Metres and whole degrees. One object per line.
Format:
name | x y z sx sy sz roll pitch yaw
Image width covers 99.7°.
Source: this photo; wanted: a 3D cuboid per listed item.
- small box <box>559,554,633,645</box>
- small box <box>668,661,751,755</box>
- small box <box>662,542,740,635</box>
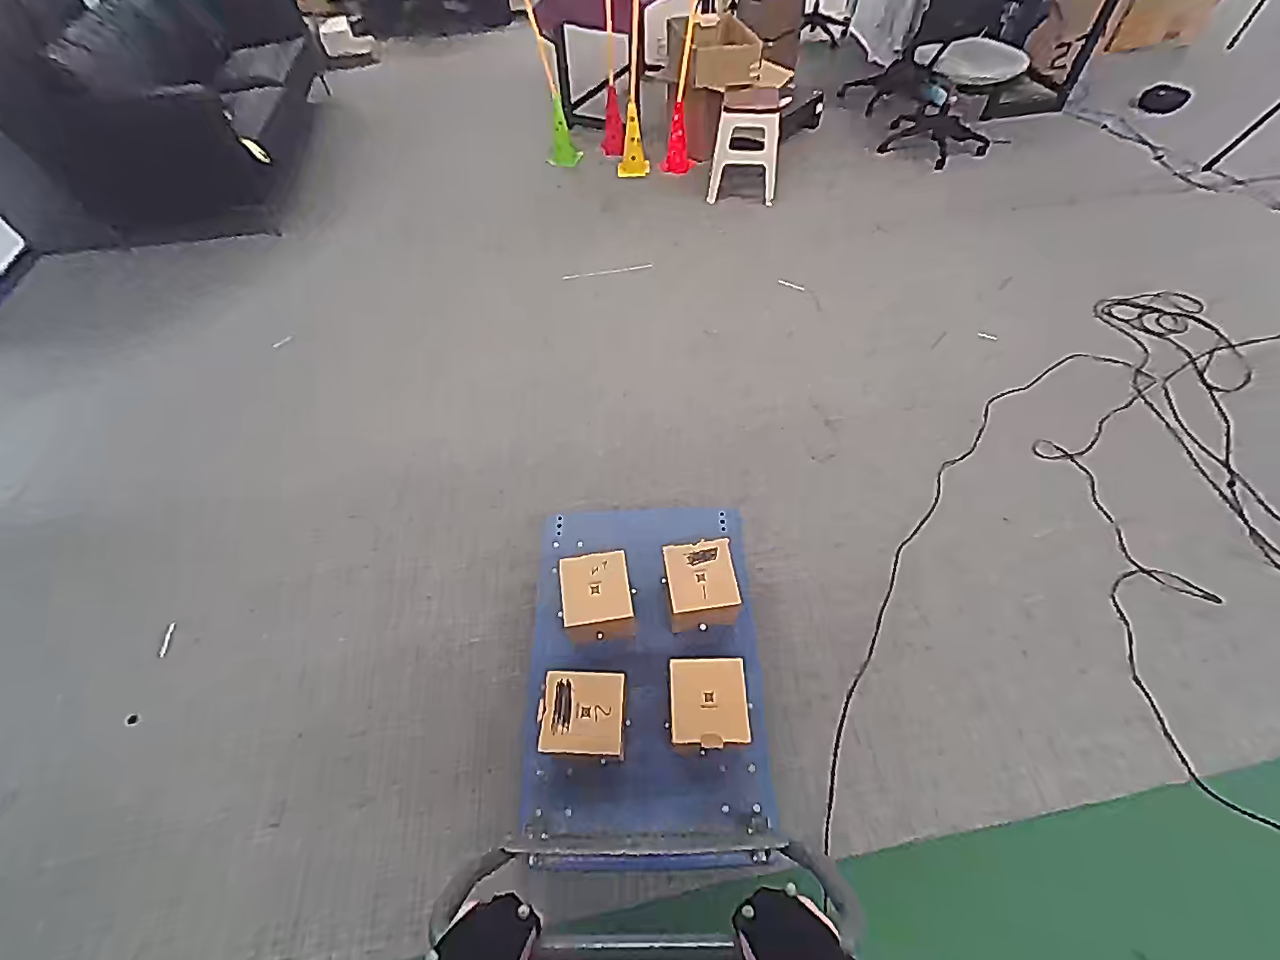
small box | -0.109 0.311 1.377 0.168 0.176 0.179 -7 58 -4
small box | 0.151 0.525 1.239 0.168 0.176 0.179 -1 58 1
small box | 0.149 0.281 1.390 0.168 0.176 0.179 -7 59 -3
